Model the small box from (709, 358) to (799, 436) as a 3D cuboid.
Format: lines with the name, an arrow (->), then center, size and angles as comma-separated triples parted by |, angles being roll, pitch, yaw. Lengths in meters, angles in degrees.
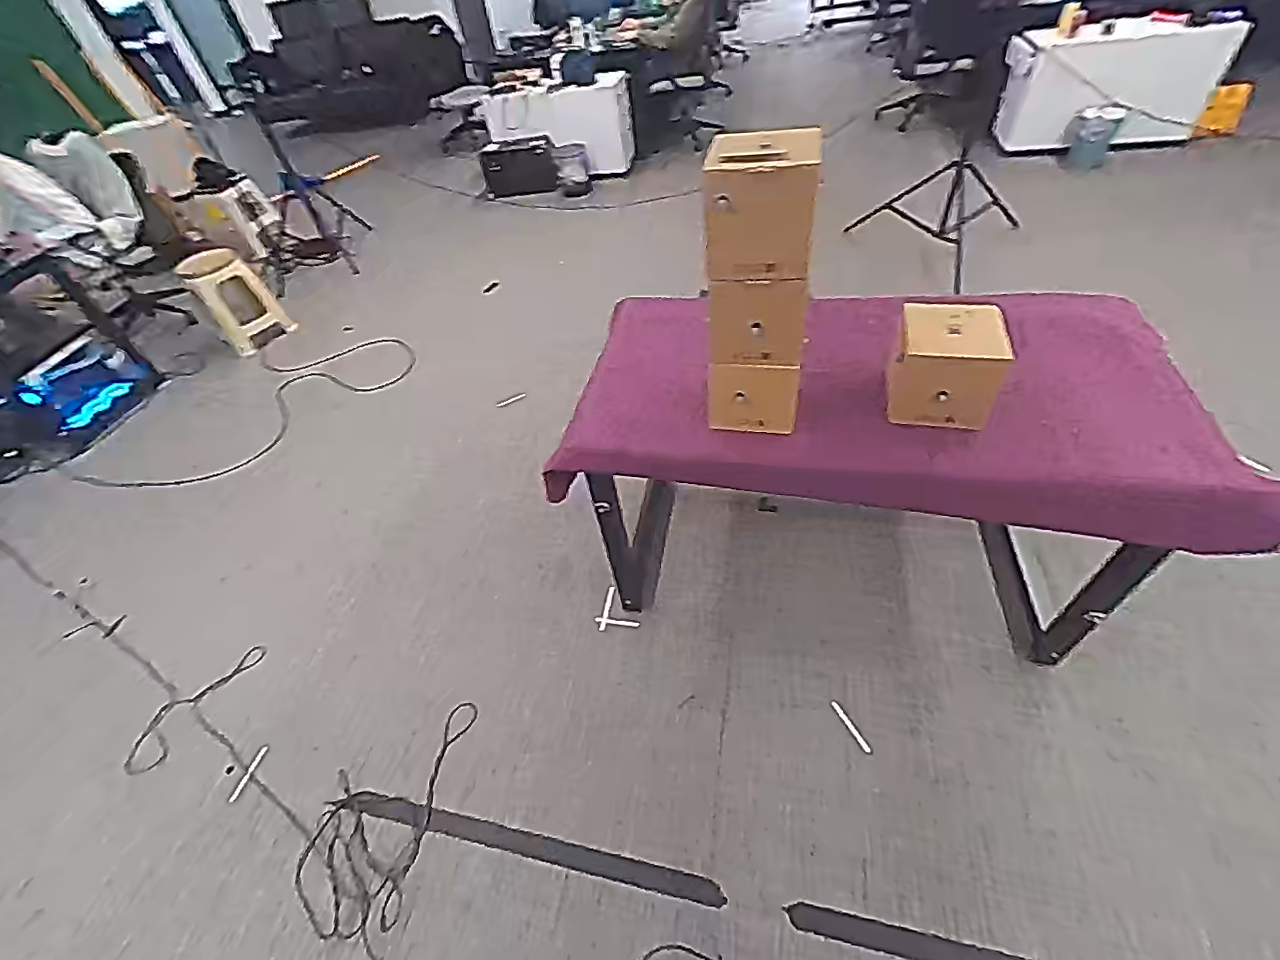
small box -> 0.240, -0.207, 1.115 | 0.168, 0.176, 0.179 | 6, 48, 14

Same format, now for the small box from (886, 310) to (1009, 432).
small box -> 0.591, -0.213, 1.062 | 0.168, 0.176, 0.179 | 7, 49, 15

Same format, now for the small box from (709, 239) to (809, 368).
small box -> 0.221, -0.323, 1.000 | 0.168, 0.176, 0.179 | 4, 48, 12
